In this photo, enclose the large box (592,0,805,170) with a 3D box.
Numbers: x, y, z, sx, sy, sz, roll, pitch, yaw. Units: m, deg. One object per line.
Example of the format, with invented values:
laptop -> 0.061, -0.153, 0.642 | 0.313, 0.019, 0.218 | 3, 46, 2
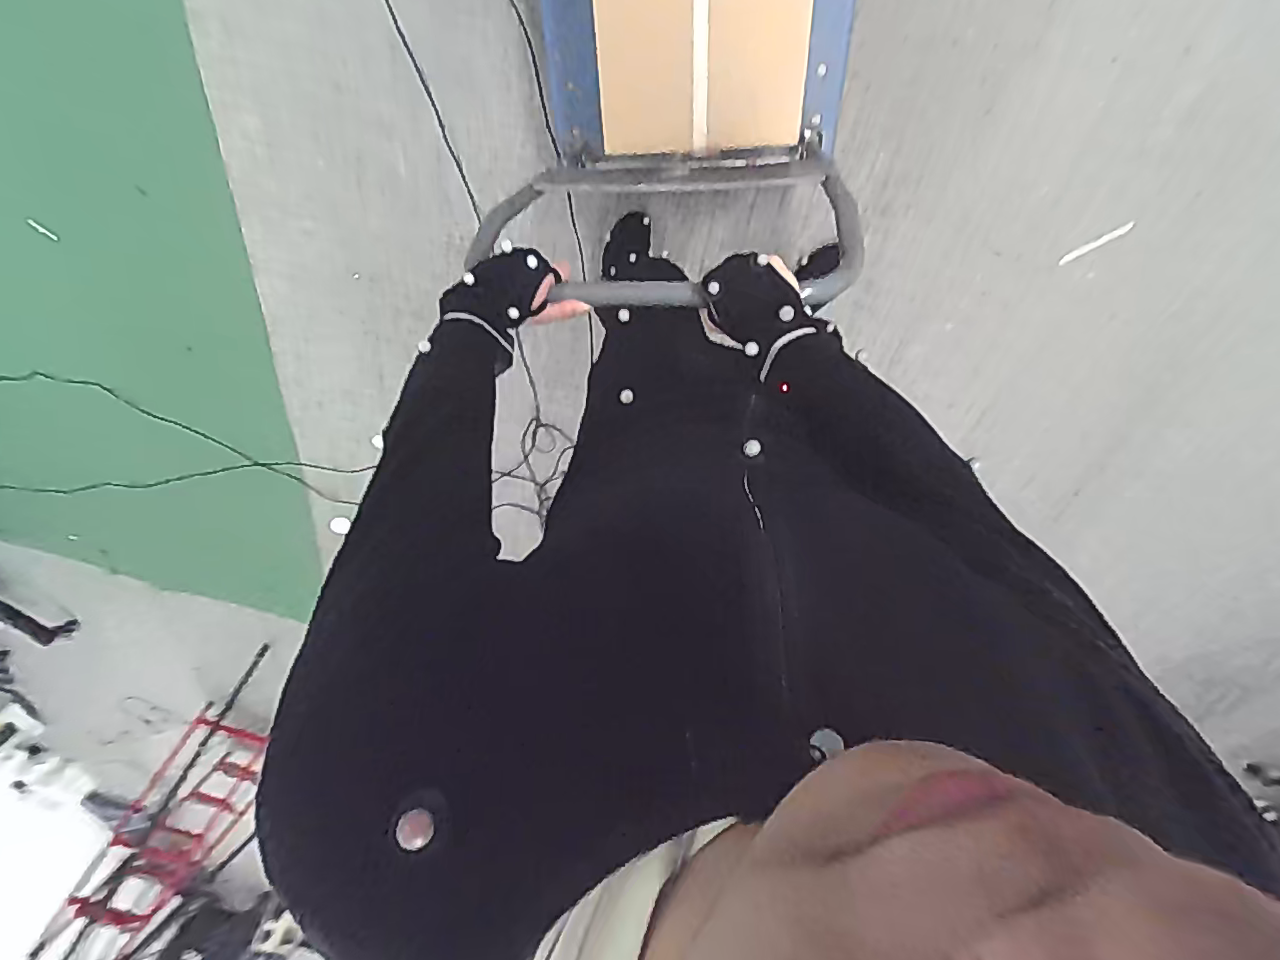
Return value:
large box -> 0.107, -0.774, 0.908 | 0.320, 0.320, 0.408 | 2, 125, 9
